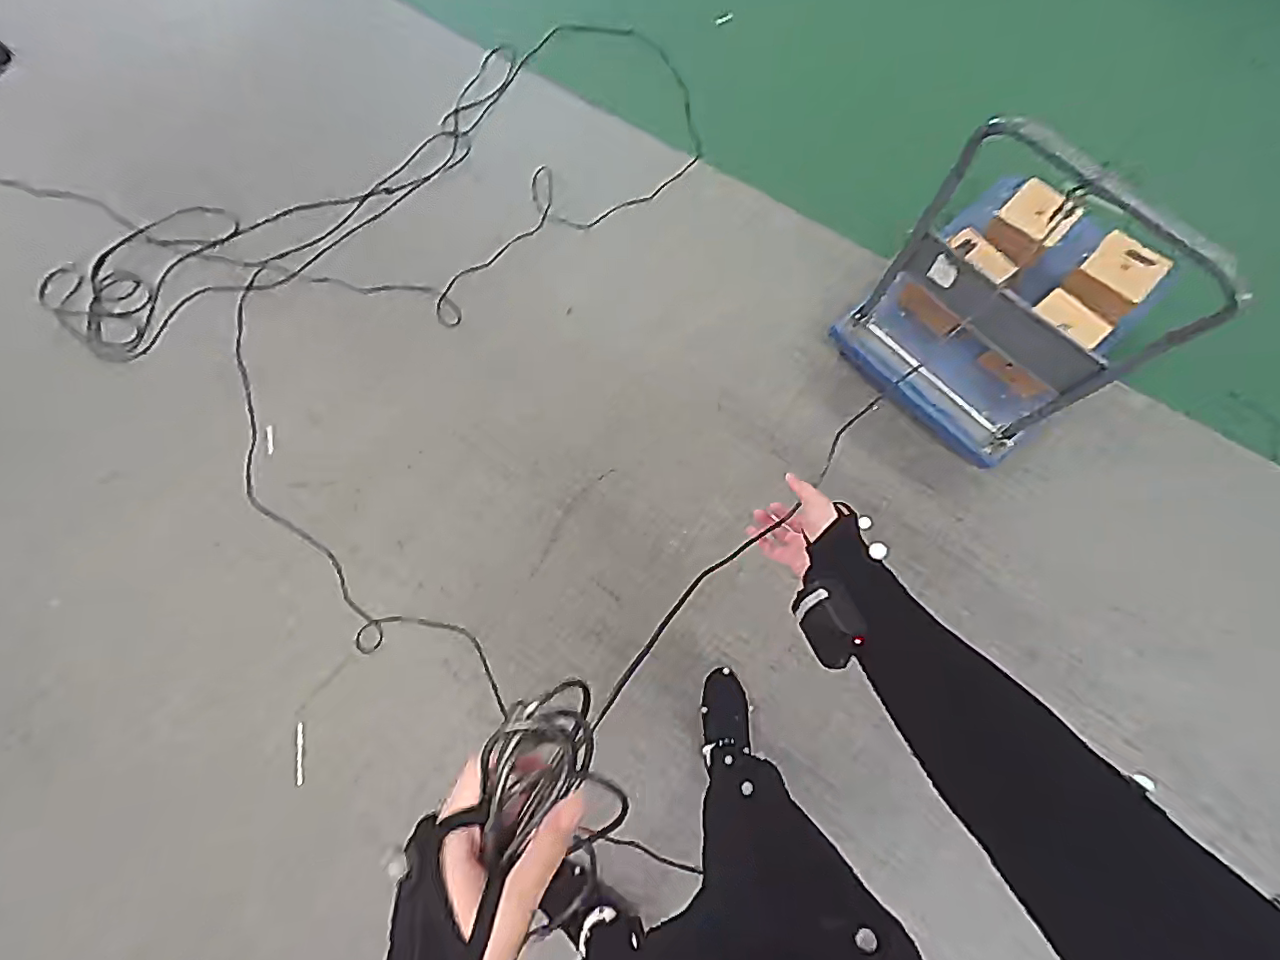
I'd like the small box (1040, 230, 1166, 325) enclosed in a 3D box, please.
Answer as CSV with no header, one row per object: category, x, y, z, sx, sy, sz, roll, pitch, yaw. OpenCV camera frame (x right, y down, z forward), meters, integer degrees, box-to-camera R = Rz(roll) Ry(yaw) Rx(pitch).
small box,1.251,-0.532,1.478,0.168,0.176,0.179,43,78,14

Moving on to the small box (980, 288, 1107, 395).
small box,1.050,-0.359,1.425,0.179,0.176,0.168,-40,76,-11

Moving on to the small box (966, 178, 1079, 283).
small box,1.071,-0.699,1.534,0.168,0.176,0.179,43,77,12
